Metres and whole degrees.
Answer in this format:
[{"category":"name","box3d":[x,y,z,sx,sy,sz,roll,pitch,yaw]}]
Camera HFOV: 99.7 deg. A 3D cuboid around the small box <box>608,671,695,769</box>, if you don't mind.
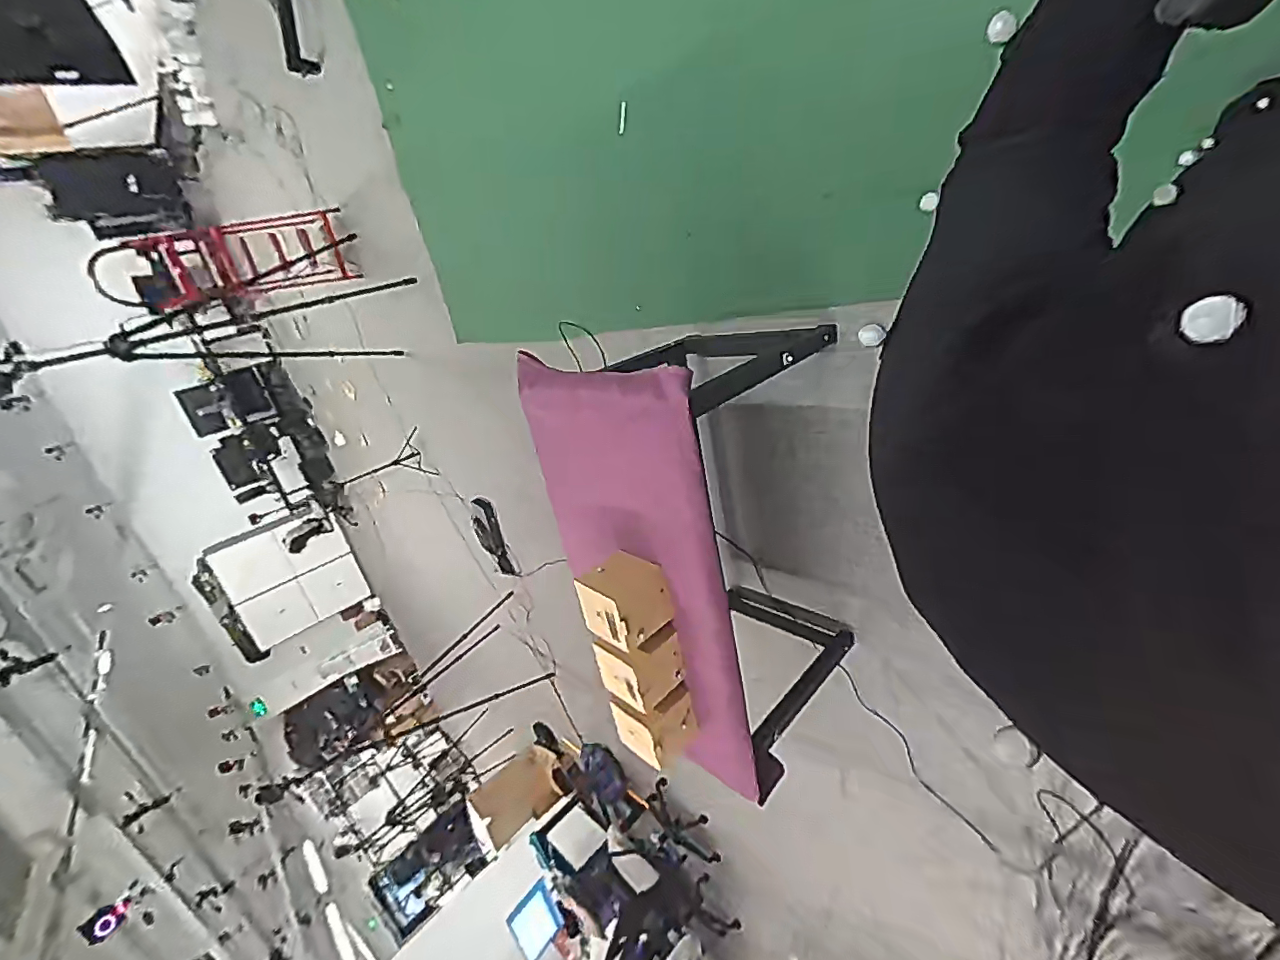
[{"category":"small box","box3d":[0.036,0.695,1.594,0.179,0.176,0.168,13,123,46]}]
